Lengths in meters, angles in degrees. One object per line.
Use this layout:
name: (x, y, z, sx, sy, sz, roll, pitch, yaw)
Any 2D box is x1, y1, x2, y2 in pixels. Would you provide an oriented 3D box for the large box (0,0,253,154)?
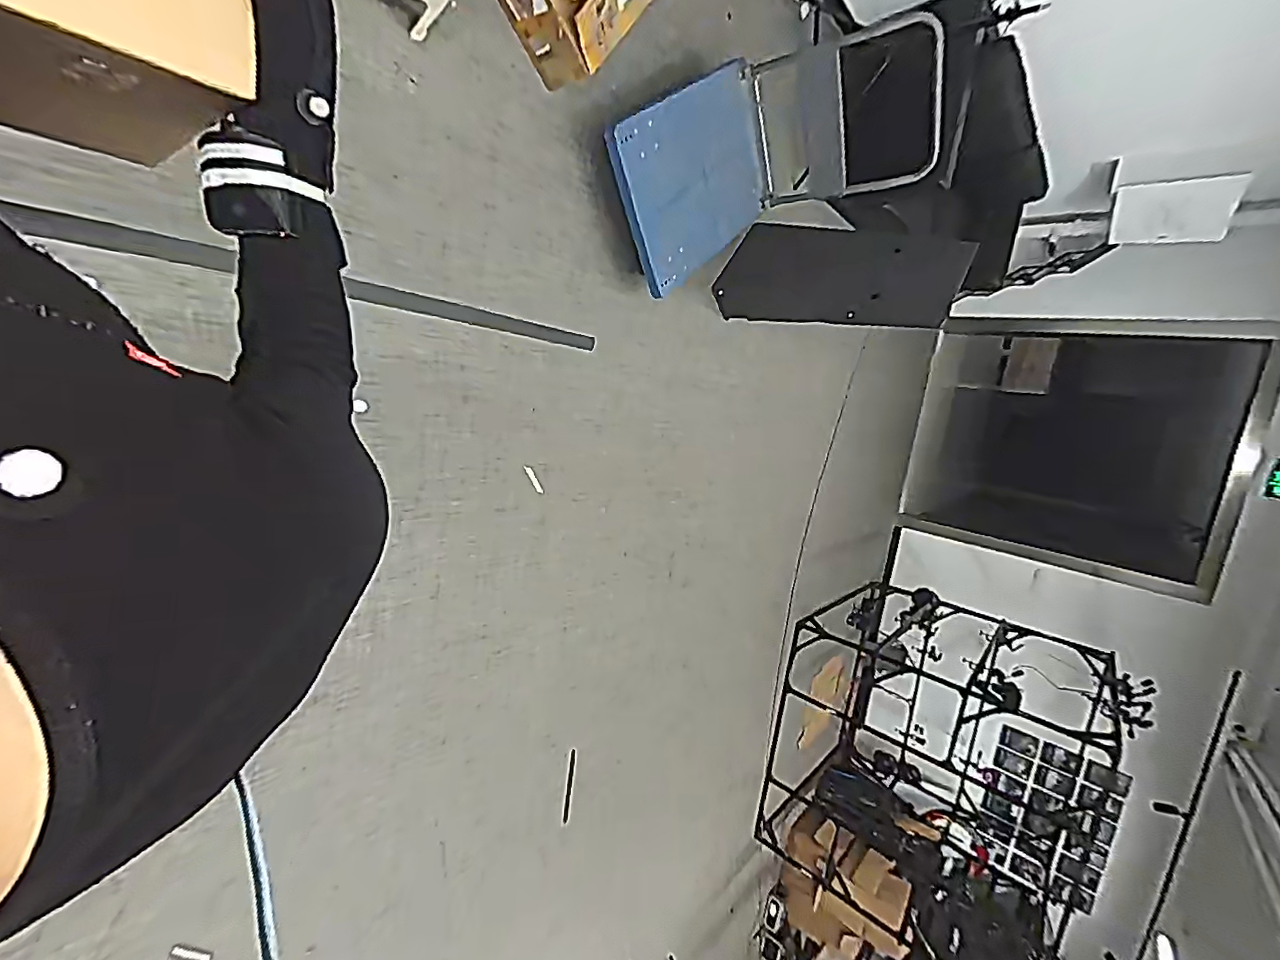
large box: (-0.499, -0.433, 0.287, 0.408, 0.320, 0.320, -8, 108, -51)
